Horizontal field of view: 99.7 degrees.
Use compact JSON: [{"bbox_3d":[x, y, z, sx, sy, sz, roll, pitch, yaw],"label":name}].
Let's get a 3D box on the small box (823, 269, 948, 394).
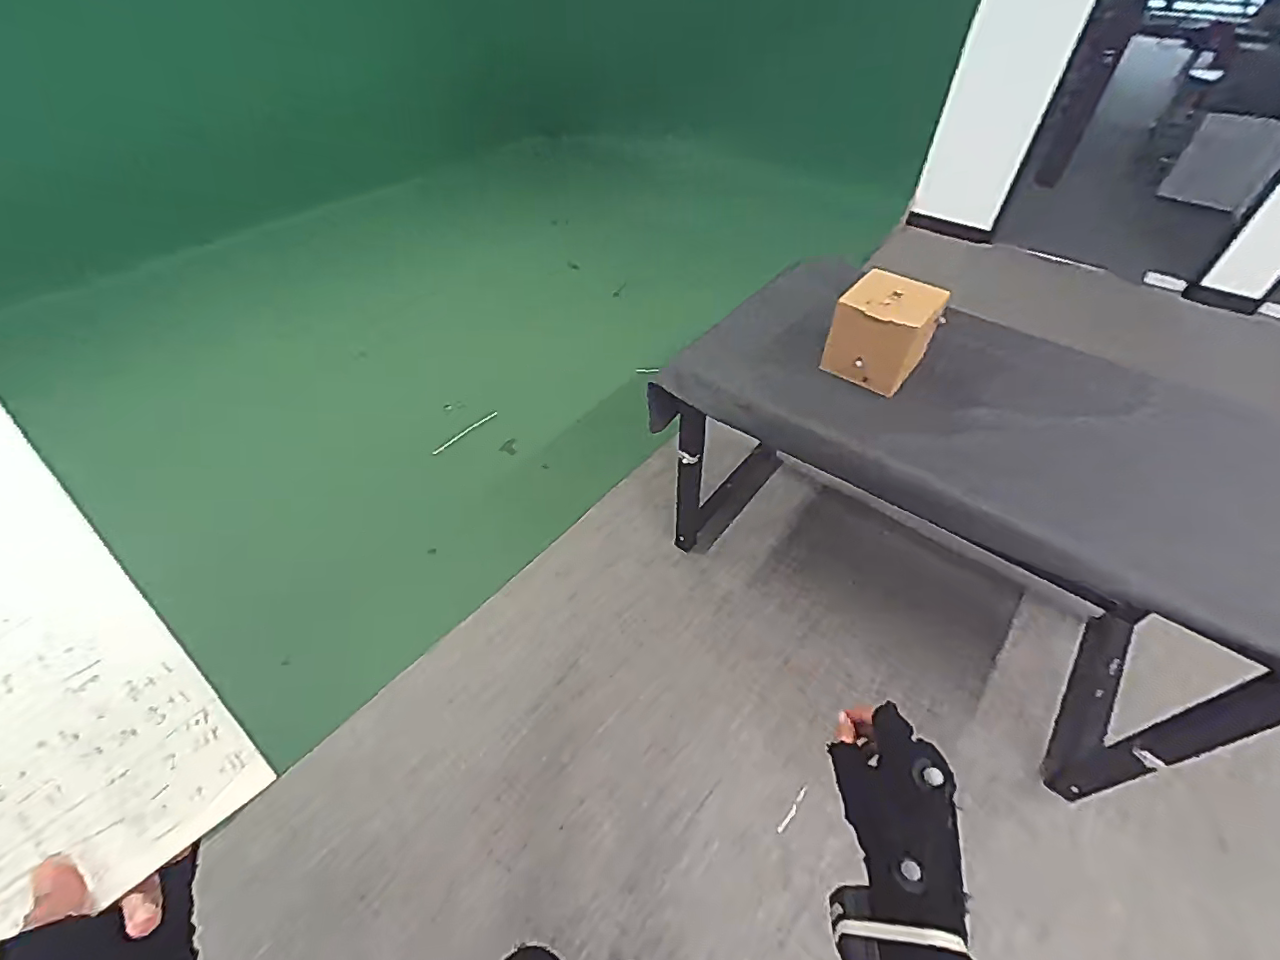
[{"bbox_3d":[0.513,-0.316,1.150,0.168,0.176,0.179,31,56,26],"label":"small box"}]
